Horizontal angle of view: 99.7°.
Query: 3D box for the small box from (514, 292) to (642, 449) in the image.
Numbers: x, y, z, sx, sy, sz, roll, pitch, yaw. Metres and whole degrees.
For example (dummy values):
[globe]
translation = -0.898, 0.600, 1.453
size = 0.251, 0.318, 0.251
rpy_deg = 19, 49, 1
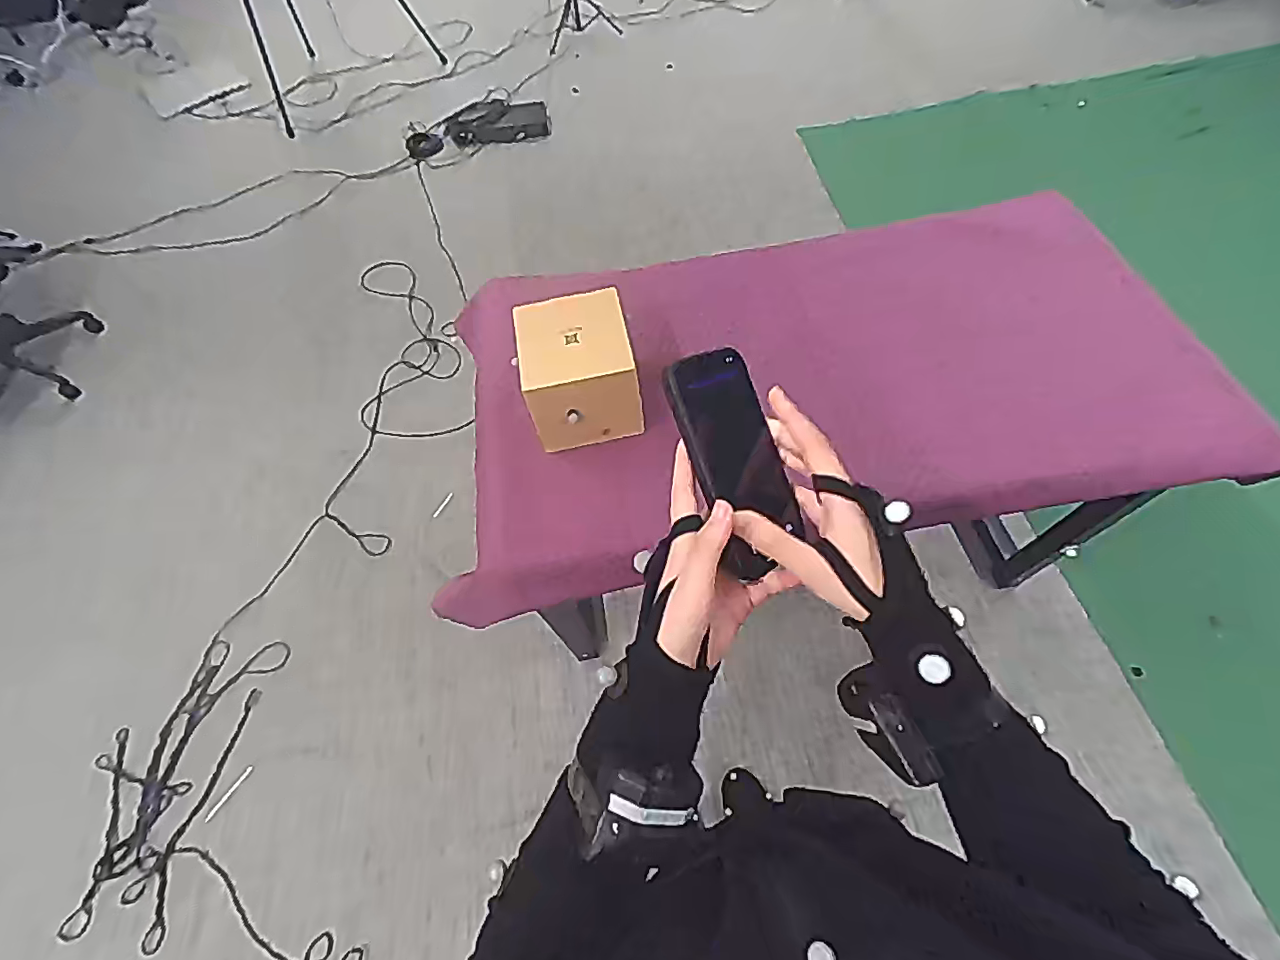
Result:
[small box]
translation = -0.095, -0.166, 0.869
size = 0.168, 0.176, 0.179
rpy_deg = -12, 58, -1
